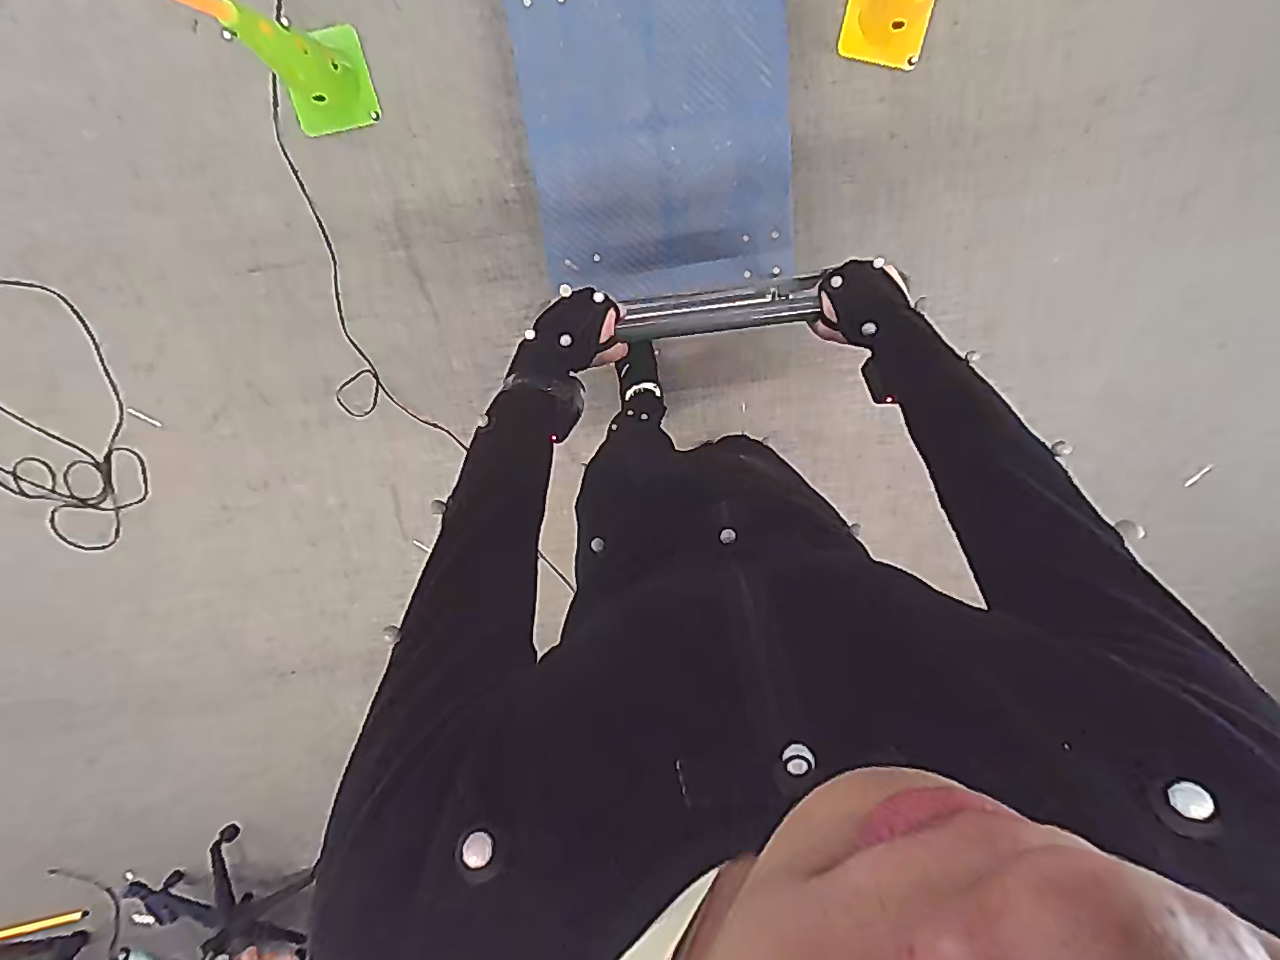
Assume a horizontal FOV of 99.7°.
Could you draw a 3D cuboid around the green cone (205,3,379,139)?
[{"bbox_3d":[-0.740,-0.882,1.119,0.202,0.368,0.200,-11,109,4],"label":"green cone"}]
